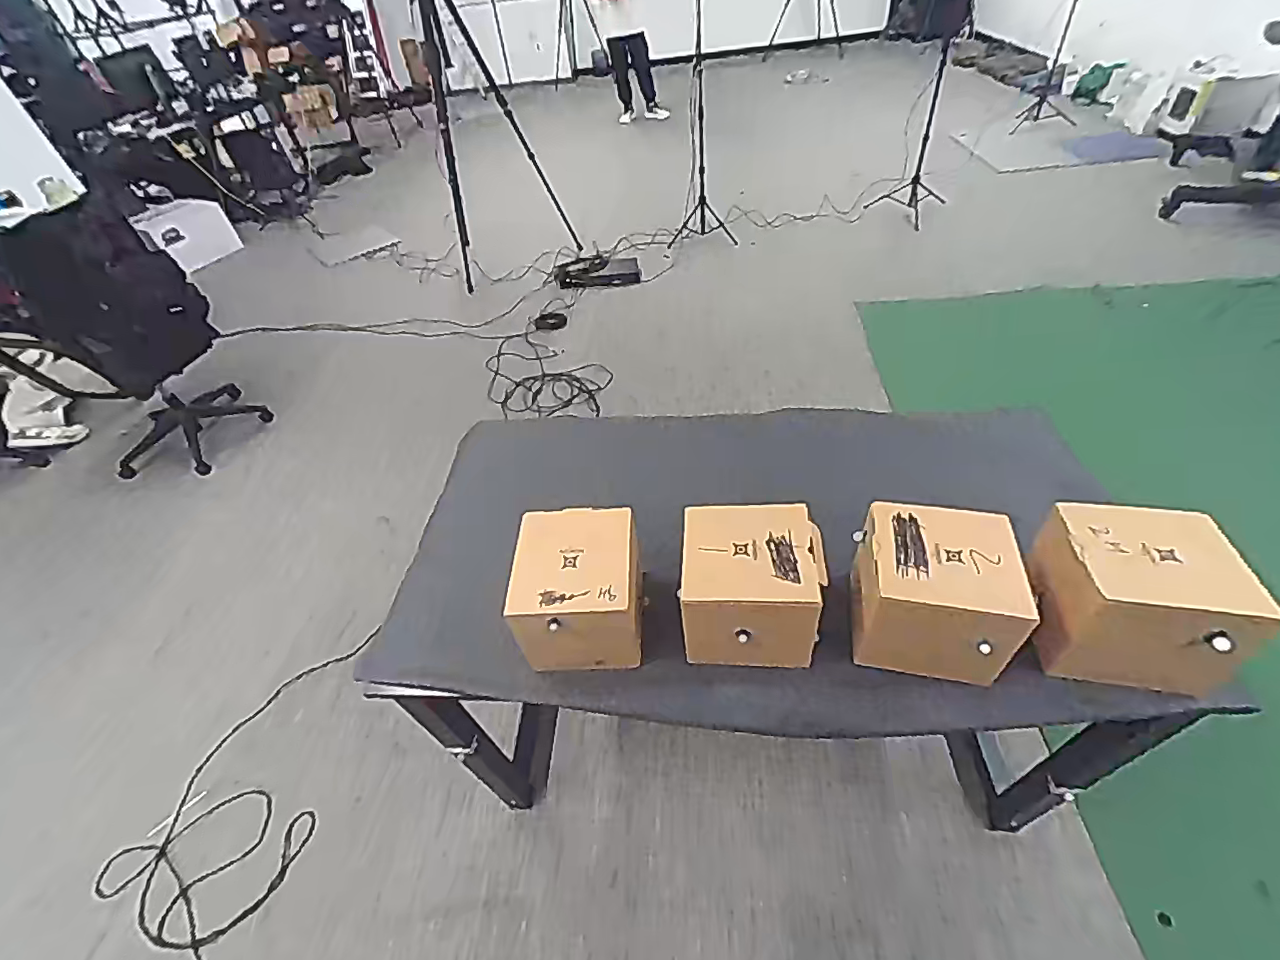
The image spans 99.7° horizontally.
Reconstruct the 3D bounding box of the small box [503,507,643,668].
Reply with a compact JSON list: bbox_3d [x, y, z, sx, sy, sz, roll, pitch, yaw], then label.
[{"bbox_3d":[-0.087,0.161,0.807,0.168,0.176,0.179,-4,46,6],"label":"small box"}]
